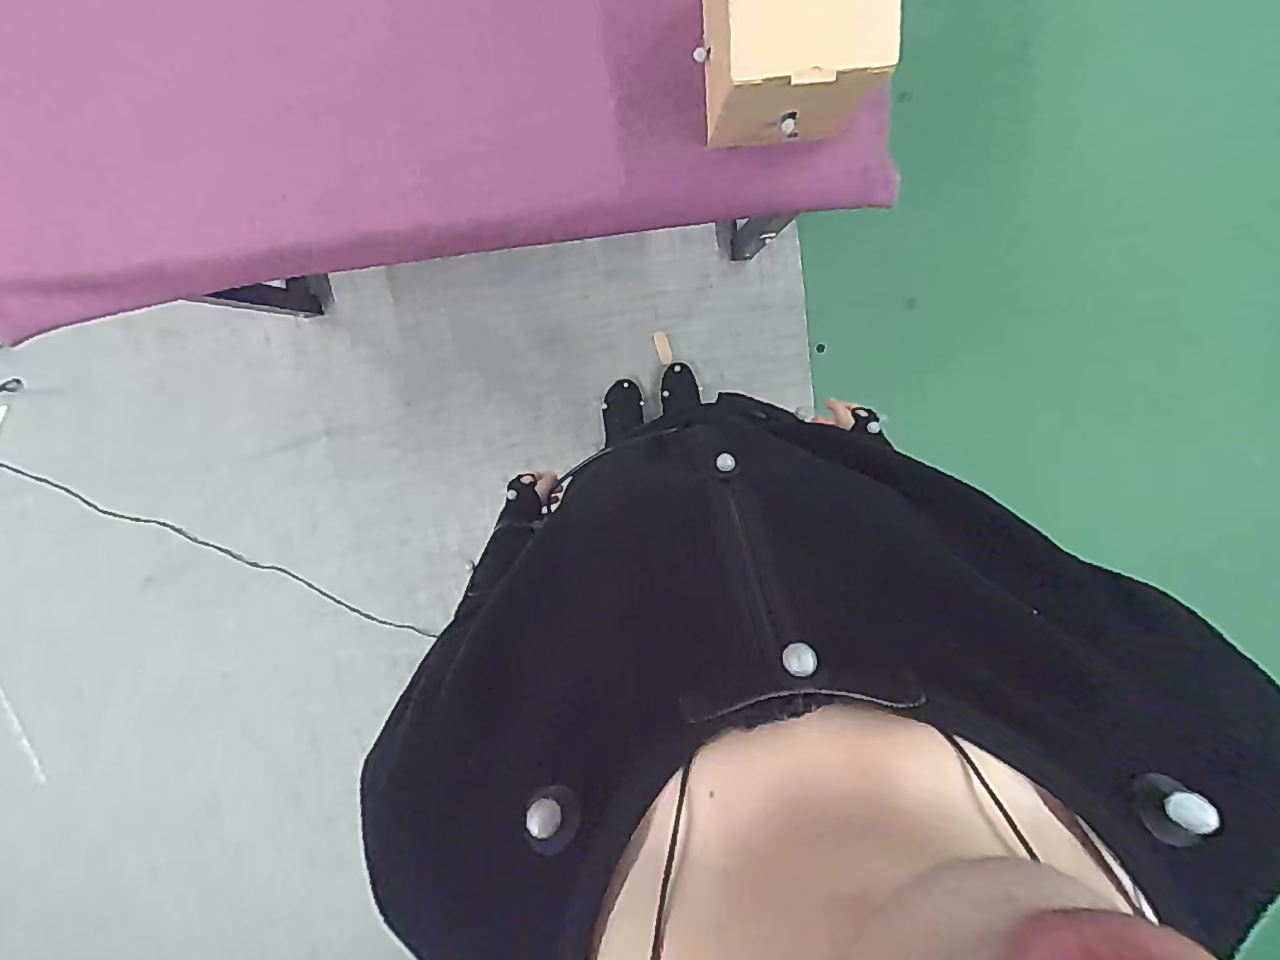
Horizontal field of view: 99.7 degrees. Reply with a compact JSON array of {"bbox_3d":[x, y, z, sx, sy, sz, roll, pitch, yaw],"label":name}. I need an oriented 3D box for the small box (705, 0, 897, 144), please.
[{"bbox_3d":[0.163,-0.489,0.589,0.168,0.176,0.179,-4,103,1],"label":"small box"}]
